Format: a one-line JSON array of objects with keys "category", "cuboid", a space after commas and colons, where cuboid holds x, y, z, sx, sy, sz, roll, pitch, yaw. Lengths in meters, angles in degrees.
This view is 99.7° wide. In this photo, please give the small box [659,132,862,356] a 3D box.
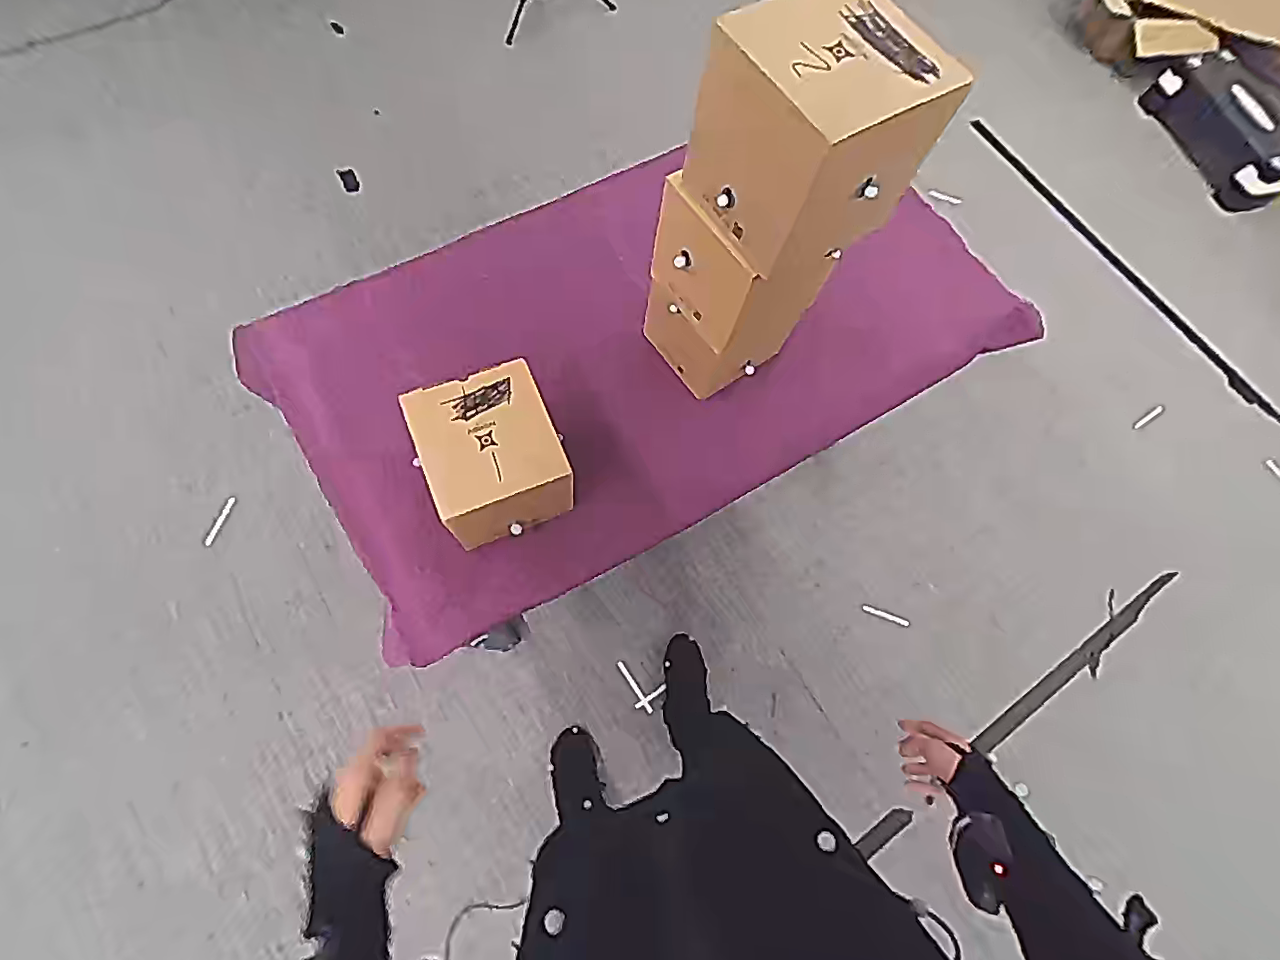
[{"category": "small box", "cuboid": [0.137, -0.292, 0.696, 0.179, 0.176, 0.168, -33, 77, -16]}]

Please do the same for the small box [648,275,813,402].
[{"category": "small box", "cuboid": [0.131, -0.256, 0.856, 0.179, 0.176, 0.168, -33, 76, -16]}]

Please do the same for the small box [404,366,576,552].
[{"category": "small box", "cuboid": [-0.196, -0.022, 0.739, 0.168, 0.176, 0.179, -21, 75, -13]}]
